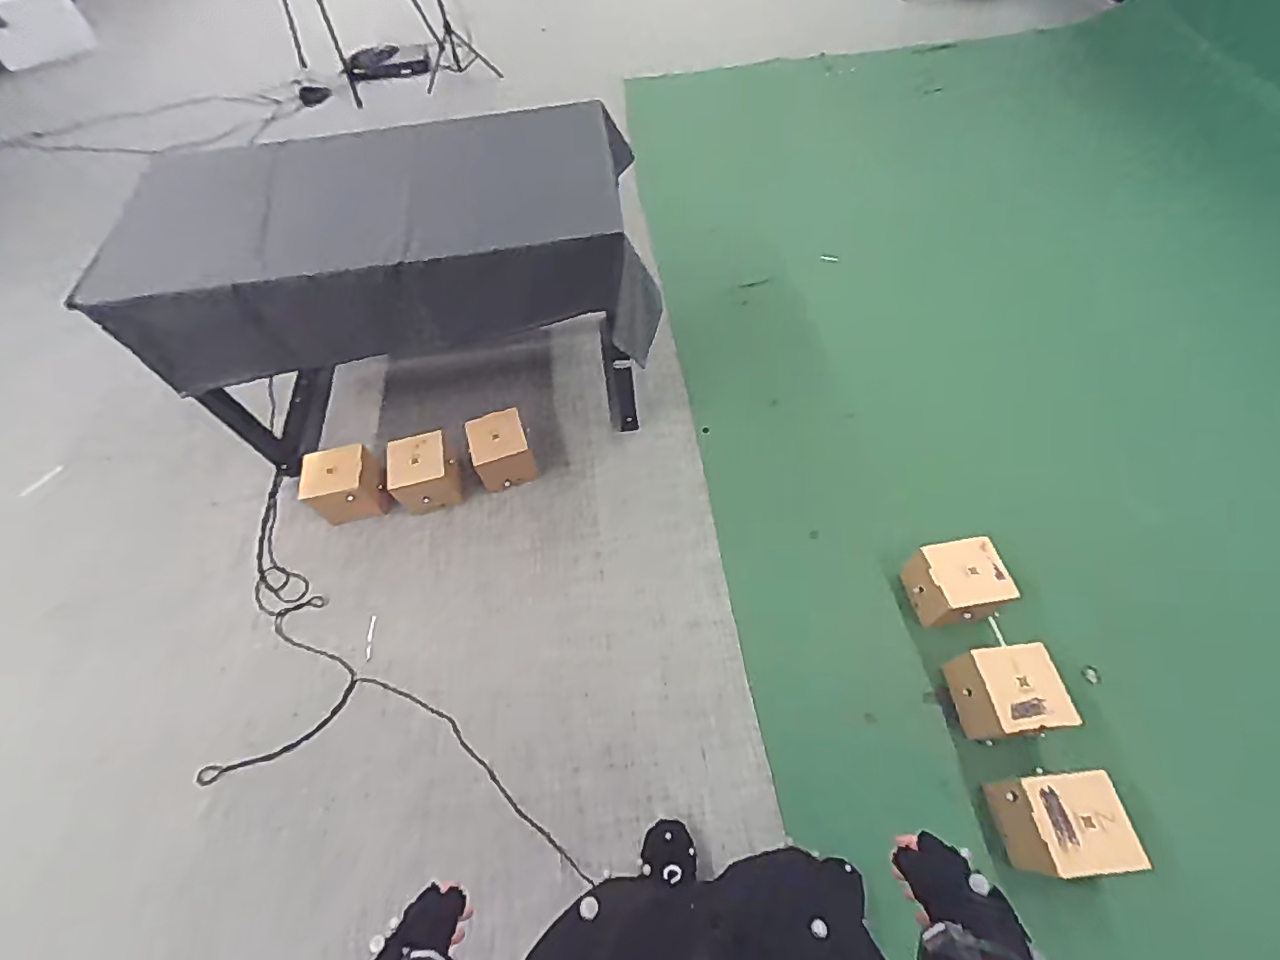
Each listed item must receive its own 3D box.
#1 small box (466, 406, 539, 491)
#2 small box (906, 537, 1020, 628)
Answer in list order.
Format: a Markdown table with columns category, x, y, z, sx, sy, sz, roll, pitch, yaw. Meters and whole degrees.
| category | x | y | z | sx | sy | sz | roll | pitch | yaw |
| --- | --- | --- | --- | --- | --- | --- | --- | --- | --- |
| small box | -0.424 | -0.094 | 1.677 | 0.168 | 0.176 | 0.179 | -18 | 59 | -7 |
| small box | 0.802 | 0.266 | 1.374 | 0.179 | 0.176 | 0.168 | -9 | 58 | 0 |
